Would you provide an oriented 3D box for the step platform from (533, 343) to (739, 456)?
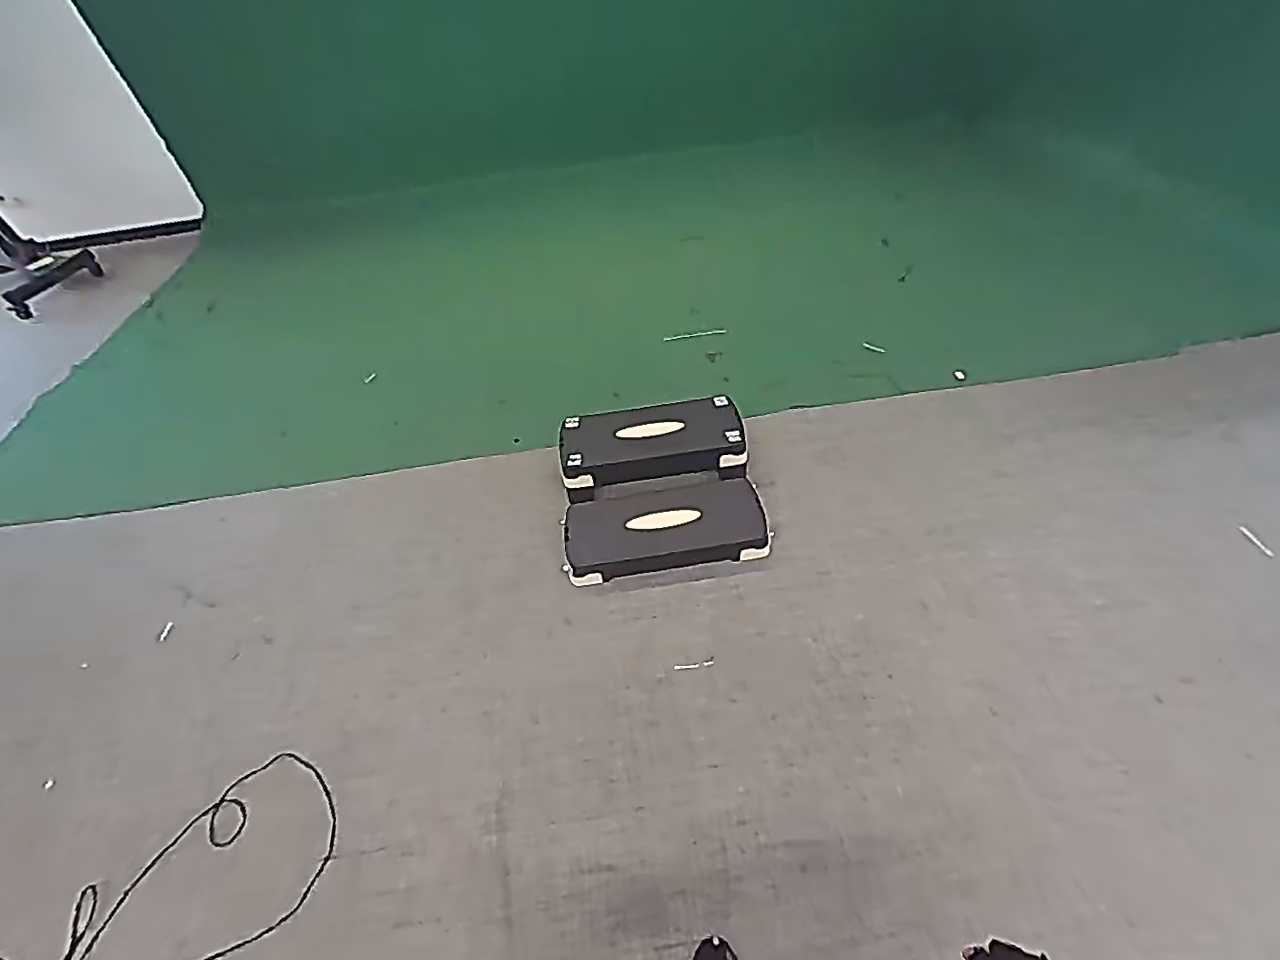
[{"bbox_3d":[-0.013,-0.280,1.874,0.684,0.204,0.286,-9,48,0],"label":"step platform"}]
